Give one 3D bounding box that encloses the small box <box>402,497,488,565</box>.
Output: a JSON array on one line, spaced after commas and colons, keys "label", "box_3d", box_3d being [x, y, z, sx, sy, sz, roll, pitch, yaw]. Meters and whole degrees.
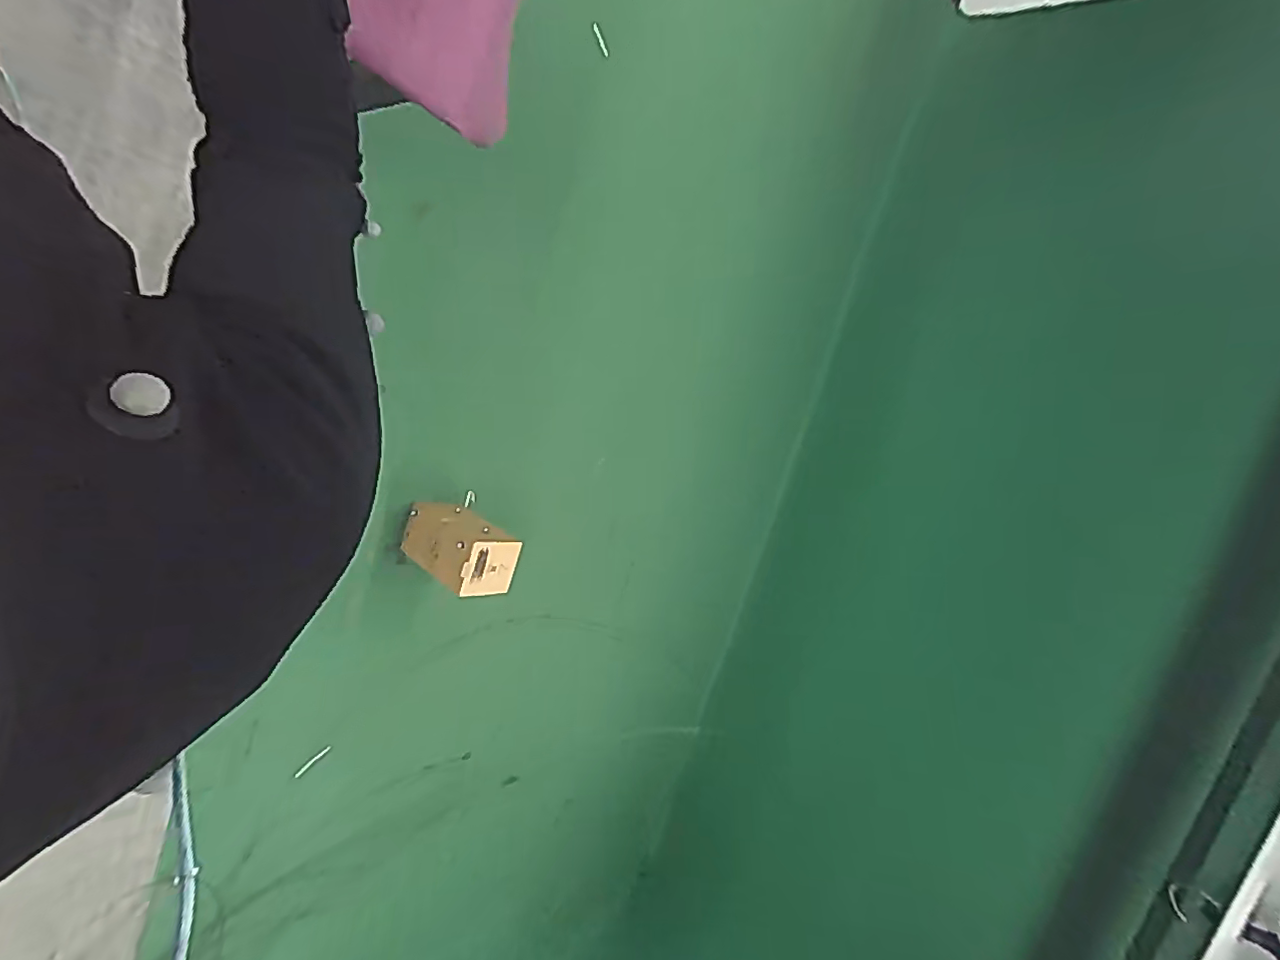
[{"label": "small box", "box_3d": [-0.616, 0.158, 1.698, 0.179, 0.176, 0.168, 11, 101, -54]}]
